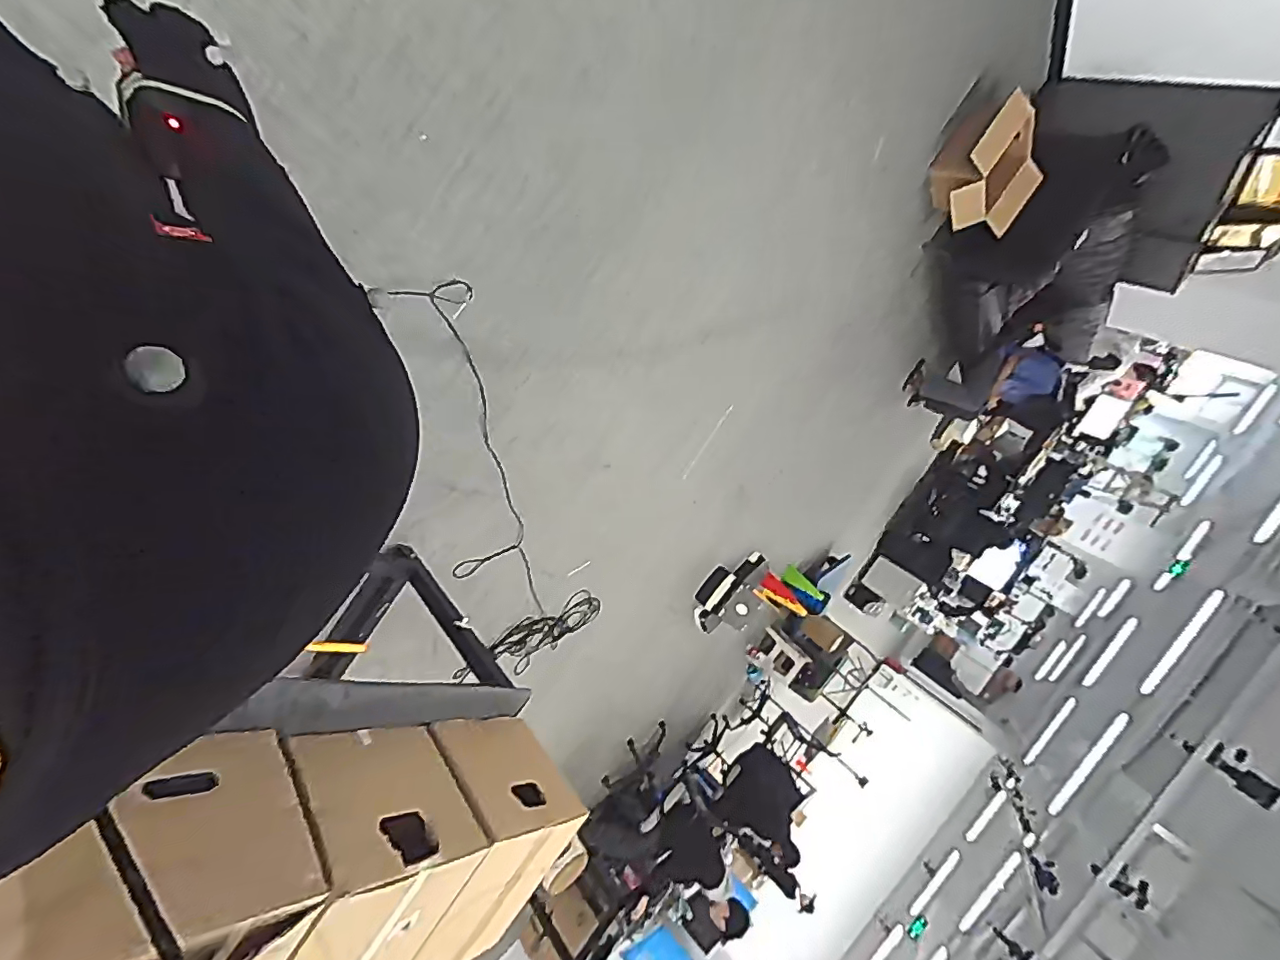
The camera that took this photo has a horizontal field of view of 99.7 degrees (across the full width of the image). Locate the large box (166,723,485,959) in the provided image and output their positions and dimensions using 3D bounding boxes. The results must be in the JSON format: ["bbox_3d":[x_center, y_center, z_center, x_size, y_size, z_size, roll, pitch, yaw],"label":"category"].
[{"bbox_3d":[-0.571,0.723,0.988,0.408,0.320,0.320,-56,145,3],"label":"large box"}]
